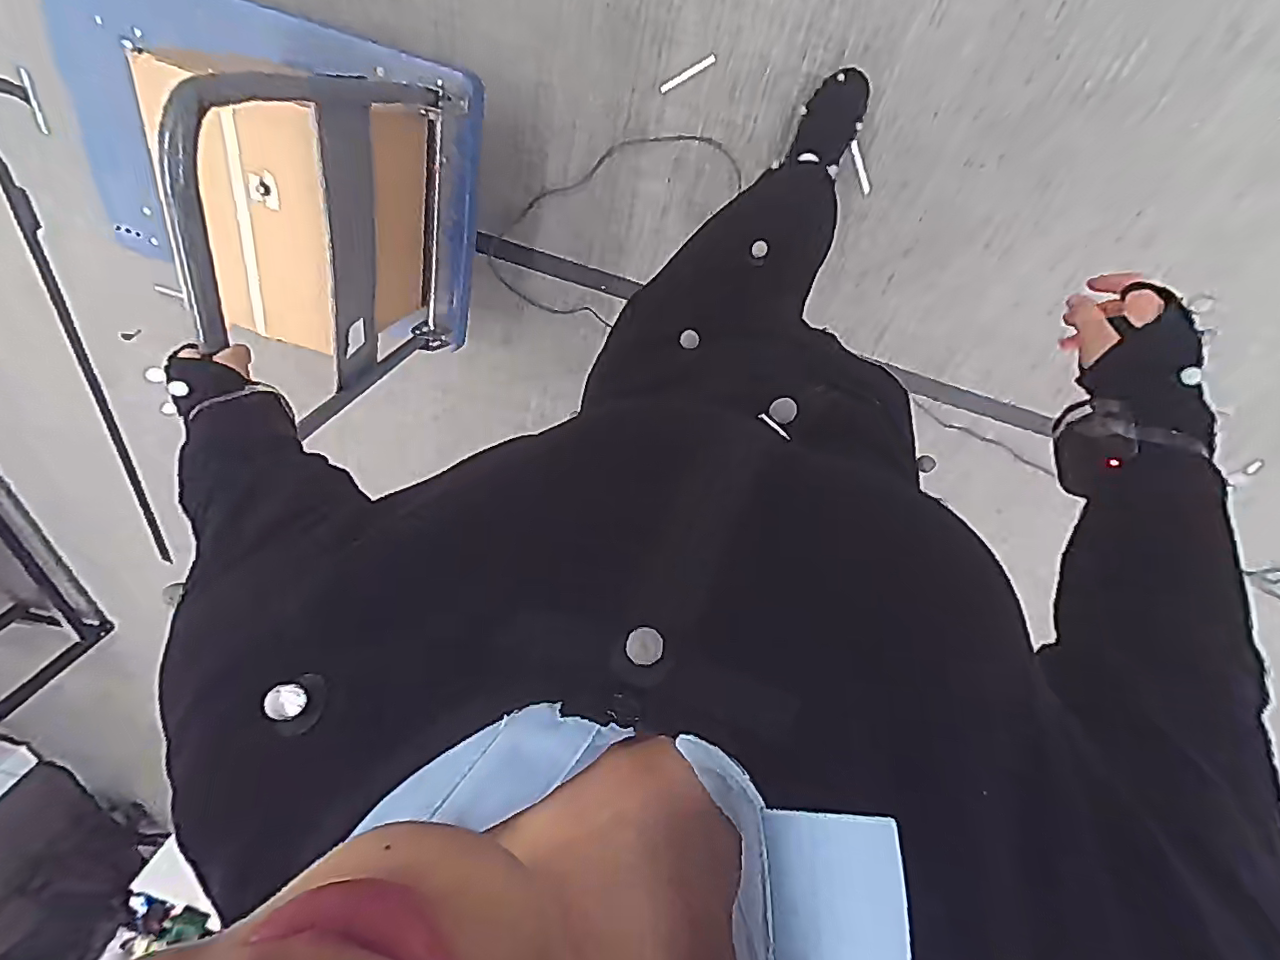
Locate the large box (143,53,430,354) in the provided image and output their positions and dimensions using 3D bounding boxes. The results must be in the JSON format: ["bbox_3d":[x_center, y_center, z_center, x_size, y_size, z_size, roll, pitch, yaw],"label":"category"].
[{"bbox_3d":[-0.627,-0.518,1.045,0.320,0.320,0.408,18,124,-1],"label":"large box"}]
